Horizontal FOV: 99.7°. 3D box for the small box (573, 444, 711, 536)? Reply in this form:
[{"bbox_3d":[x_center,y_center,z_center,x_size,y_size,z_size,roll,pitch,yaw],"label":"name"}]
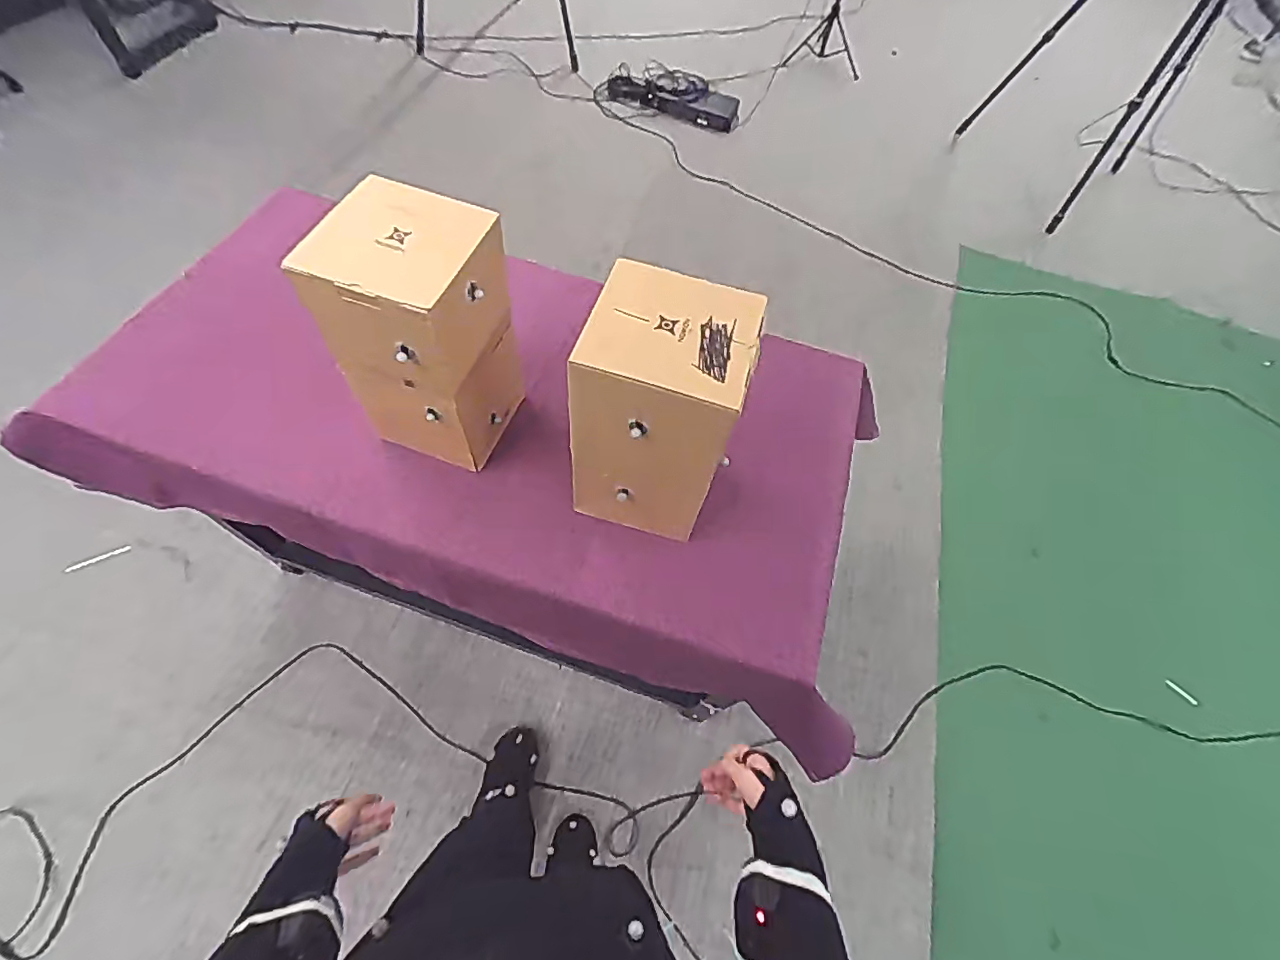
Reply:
[{"bbox_3d":[0.013,-0.039,0.777,0.179,0.176,0.168,16,60,4],"label":"small box"}]

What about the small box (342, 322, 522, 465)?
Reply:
[{"bbox_3d":[-0.294,-0.146,0.810,0.179,0.176,0.168,19,60,4],"label":"small box"}]

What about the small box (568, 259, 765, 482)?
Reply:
[{"bbox_3d":[0.026,-0.118,0.633,0.179,0.176,0.168,17,59,4],"label":"small box"}]

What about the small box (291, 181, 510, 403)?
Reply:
[{"bbox_3d":[-0.272,-0.224,0.669,0.168,0.176,0.179,19,59,3],"label":"small box"}]
